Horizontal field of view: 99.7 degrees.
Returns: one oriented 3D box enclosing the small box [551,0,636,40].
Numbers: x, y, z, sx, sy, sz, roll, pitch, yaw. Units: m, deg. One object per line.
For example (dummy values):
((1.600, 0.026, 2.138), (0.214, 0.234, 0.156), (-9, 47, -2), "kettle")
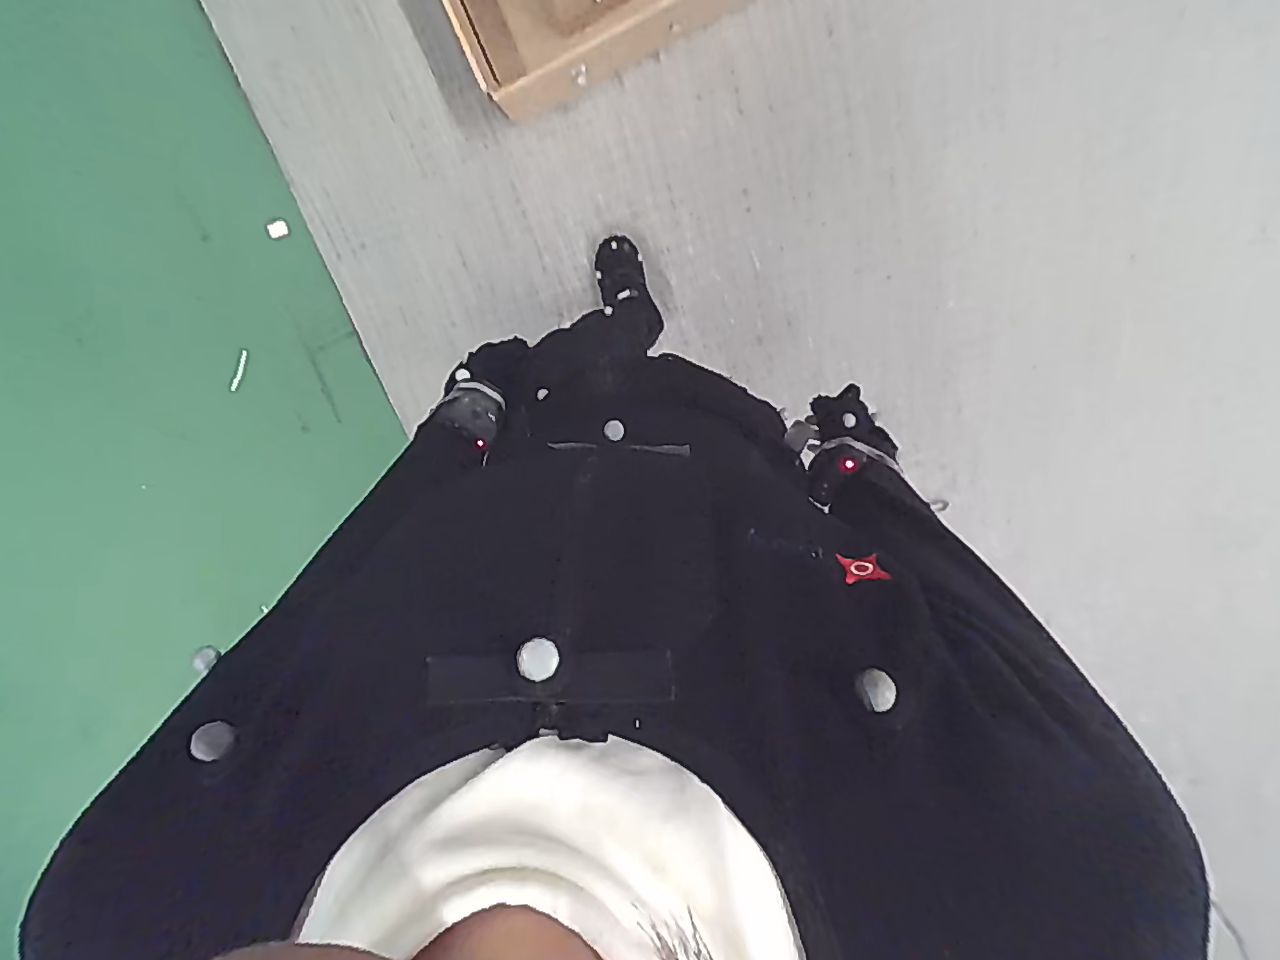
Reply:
((-0.104, -0.983, 1.006), (0.179, 0.176, 0.168), (-23, 103, 10), "small box")
